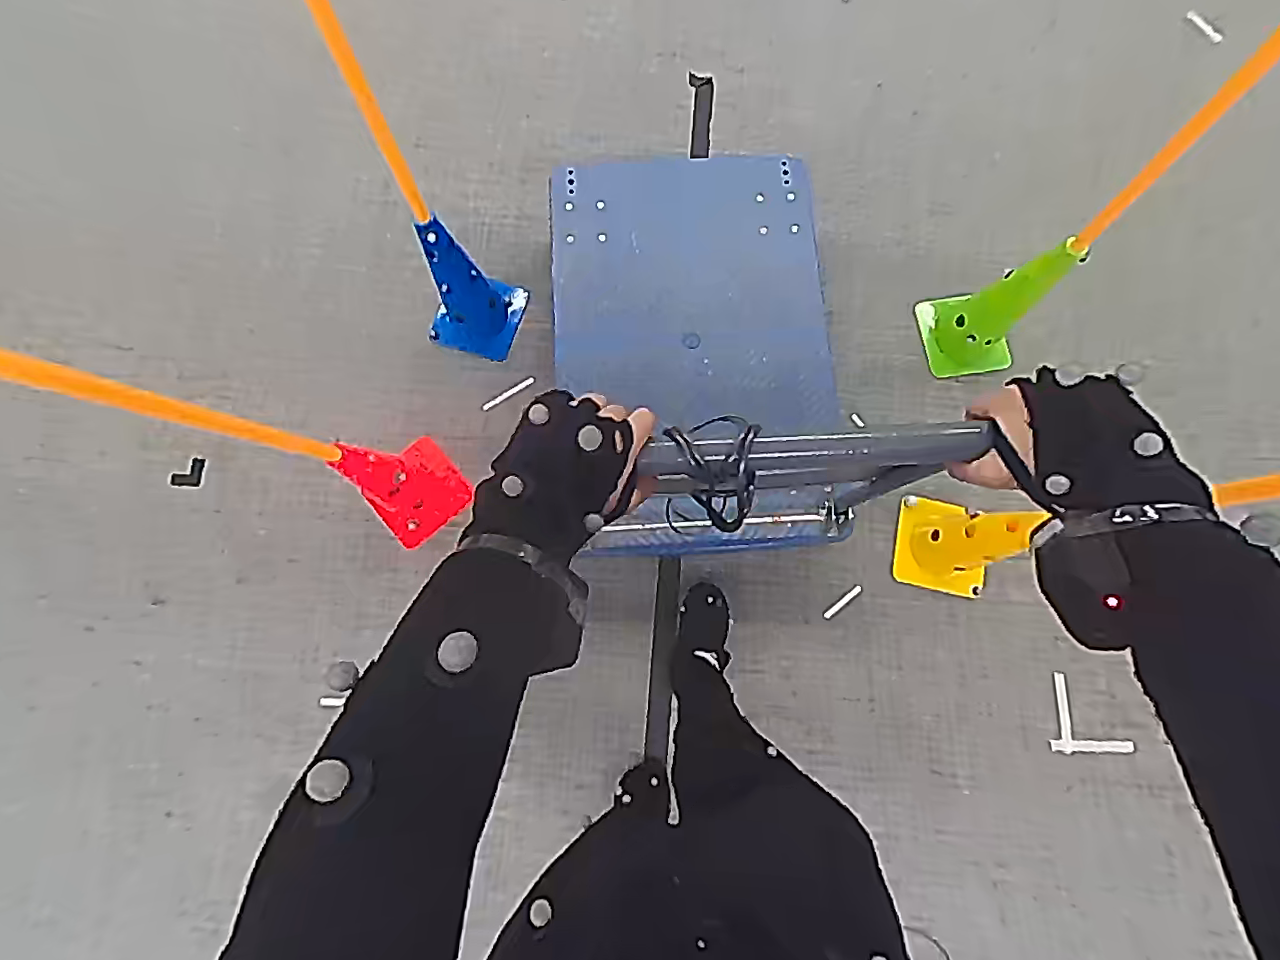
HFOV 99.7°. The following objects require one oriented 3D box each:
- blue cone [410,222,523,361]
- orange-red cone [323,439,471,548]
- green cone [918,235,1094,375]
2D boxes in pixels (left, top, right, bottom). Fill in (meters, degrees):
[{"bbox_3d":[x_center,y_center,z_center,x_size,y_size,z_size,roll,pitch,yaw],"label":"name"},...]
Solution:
[{"bbox_3d":[-0.396,-0.426,1.162,0.193,0.380,0.192,19,79,4],"label":"blue cone"},{"bbox_3d":[-0.505,-0.009,1.058,0.199,0.360,0.198,-40,81,-9],"label":"orange-red cone"},{"bbox_3d":[0.785,-0.391,1.139,0.200,0.368,0.202,-9,79,-2],"label":"green cone"}]
